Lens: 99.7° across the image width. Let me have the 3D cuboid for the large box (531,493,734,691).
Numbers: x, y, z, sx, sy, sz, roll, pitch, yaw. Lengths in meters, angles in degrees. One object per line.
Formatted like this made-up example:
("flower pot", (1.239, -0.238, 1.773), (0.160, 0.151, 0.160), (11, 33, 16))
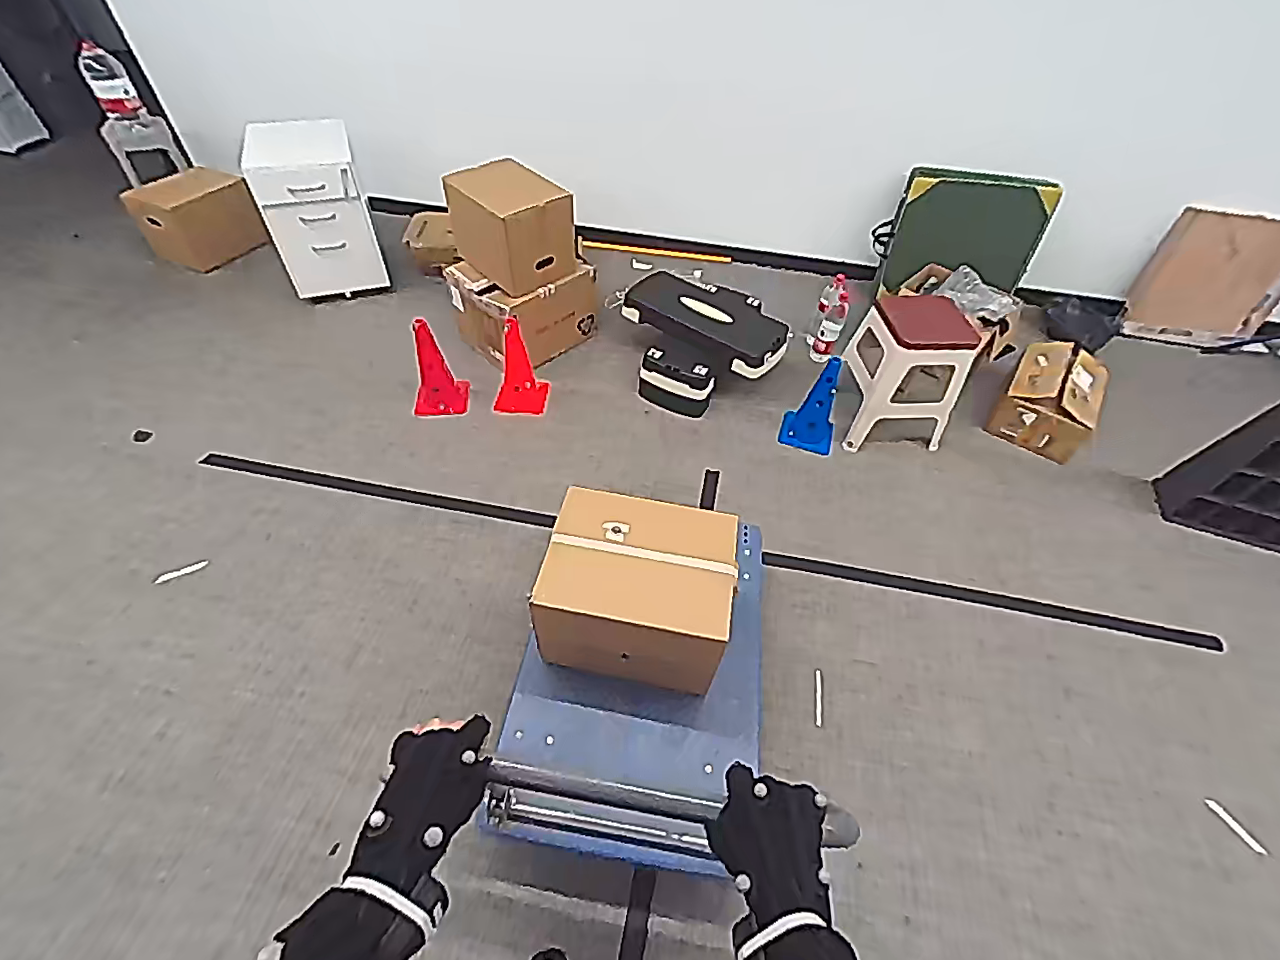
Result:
("large box", (-0.005, 0.271, 1.289), (0.408, 0.320, 0.320), (10, 50, 5))
